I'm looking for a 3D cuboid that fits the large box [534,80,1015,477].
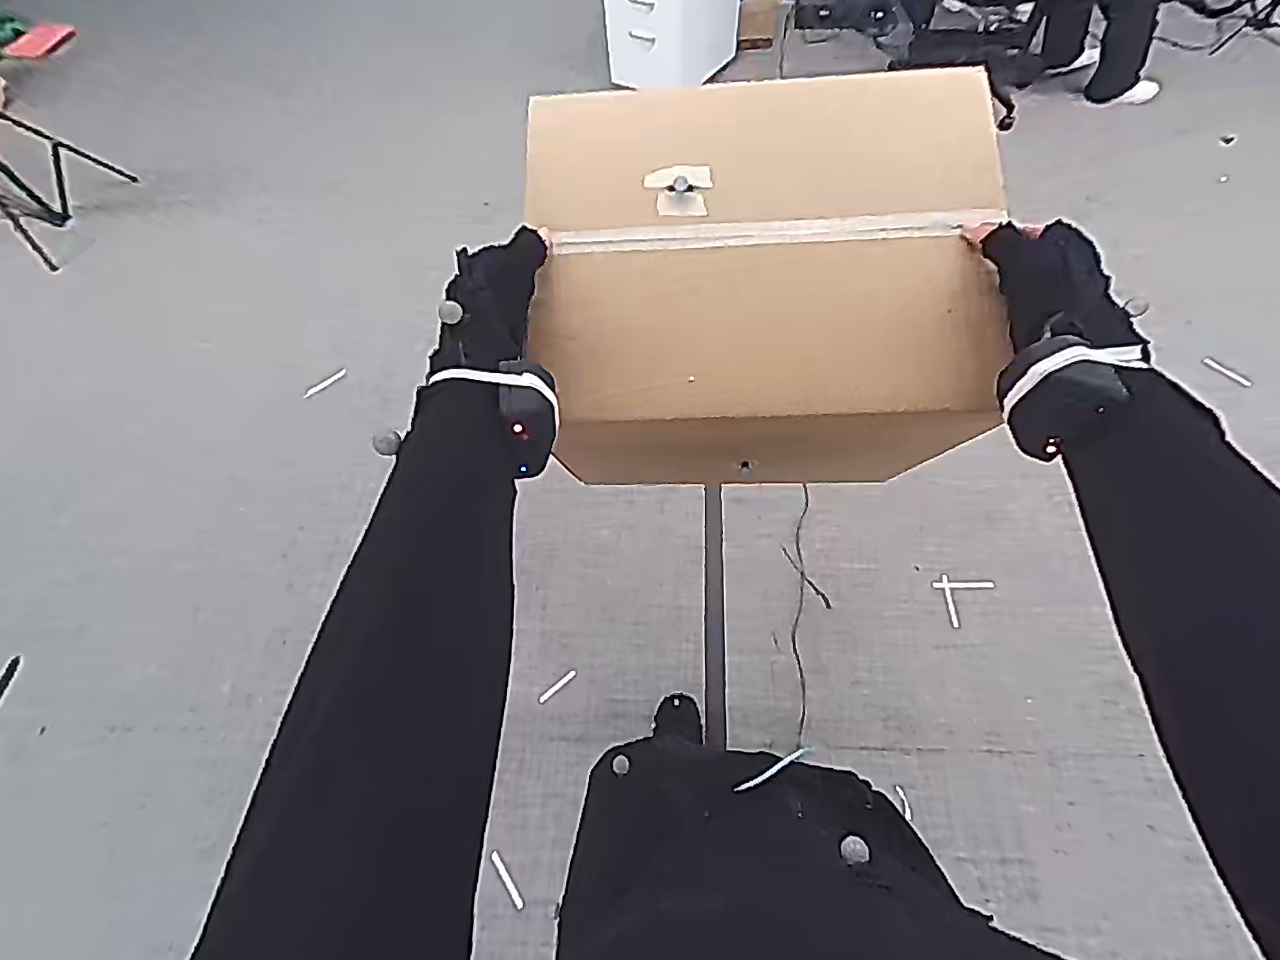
[{"bbox_3d":[0.119,-0.179,0.621,0.408,0.320,0.320,-1,79,5],"label":"large box"}]
